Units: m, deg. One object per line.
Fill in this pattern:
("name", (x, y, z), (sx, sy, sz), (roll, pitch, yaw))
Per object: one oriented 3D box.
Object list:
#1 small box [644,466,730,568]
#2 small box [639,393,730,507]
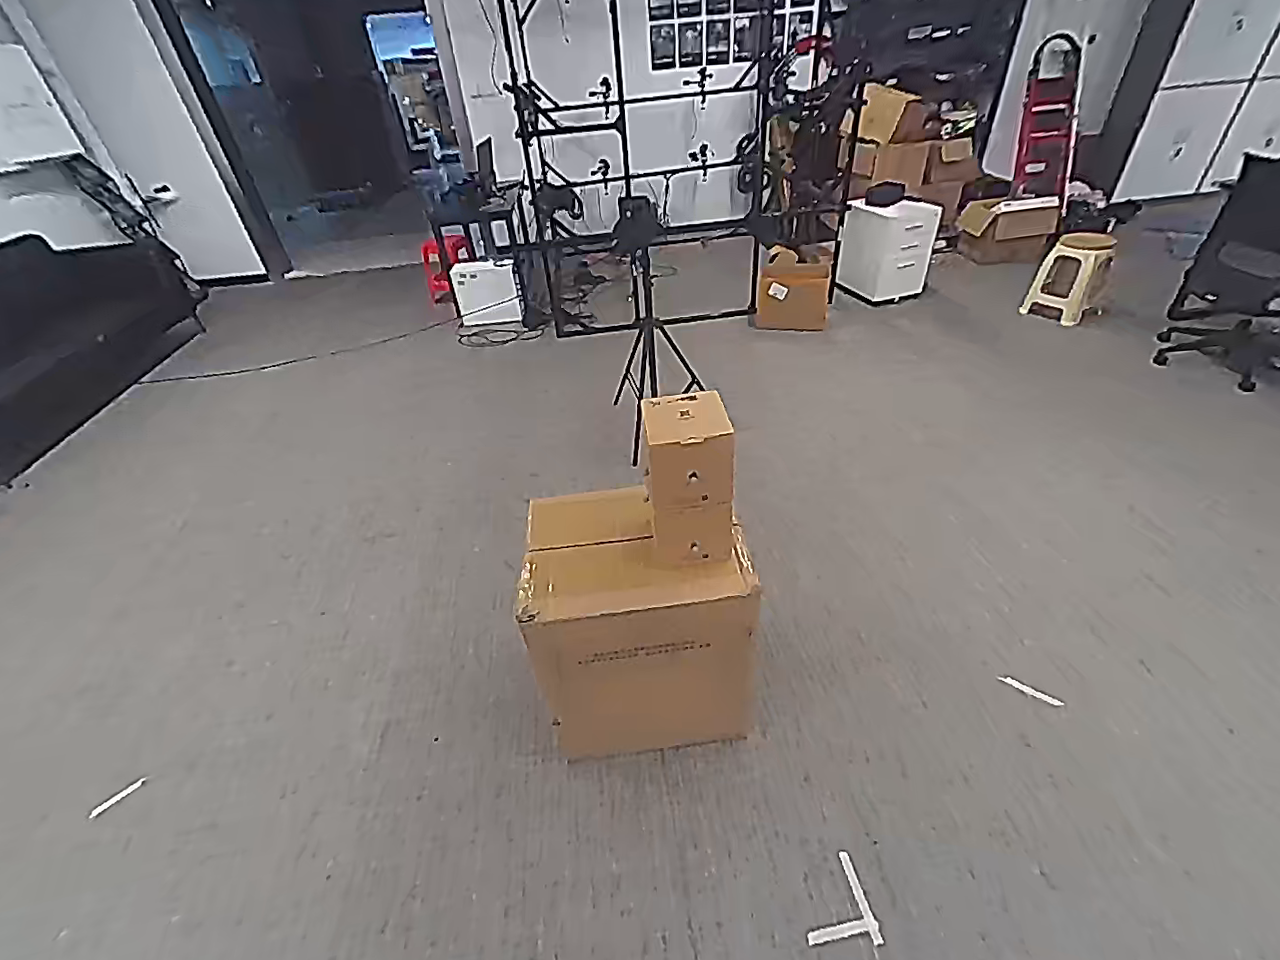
("small box", (0.103, 0.074, 1.227), (0.168, 0.176, 0.179), (-8, 39, -2))
("small box", (0.092, -0.057, 1.129), (0.168, 0.176, 0.179), (-7, 39, -1))
